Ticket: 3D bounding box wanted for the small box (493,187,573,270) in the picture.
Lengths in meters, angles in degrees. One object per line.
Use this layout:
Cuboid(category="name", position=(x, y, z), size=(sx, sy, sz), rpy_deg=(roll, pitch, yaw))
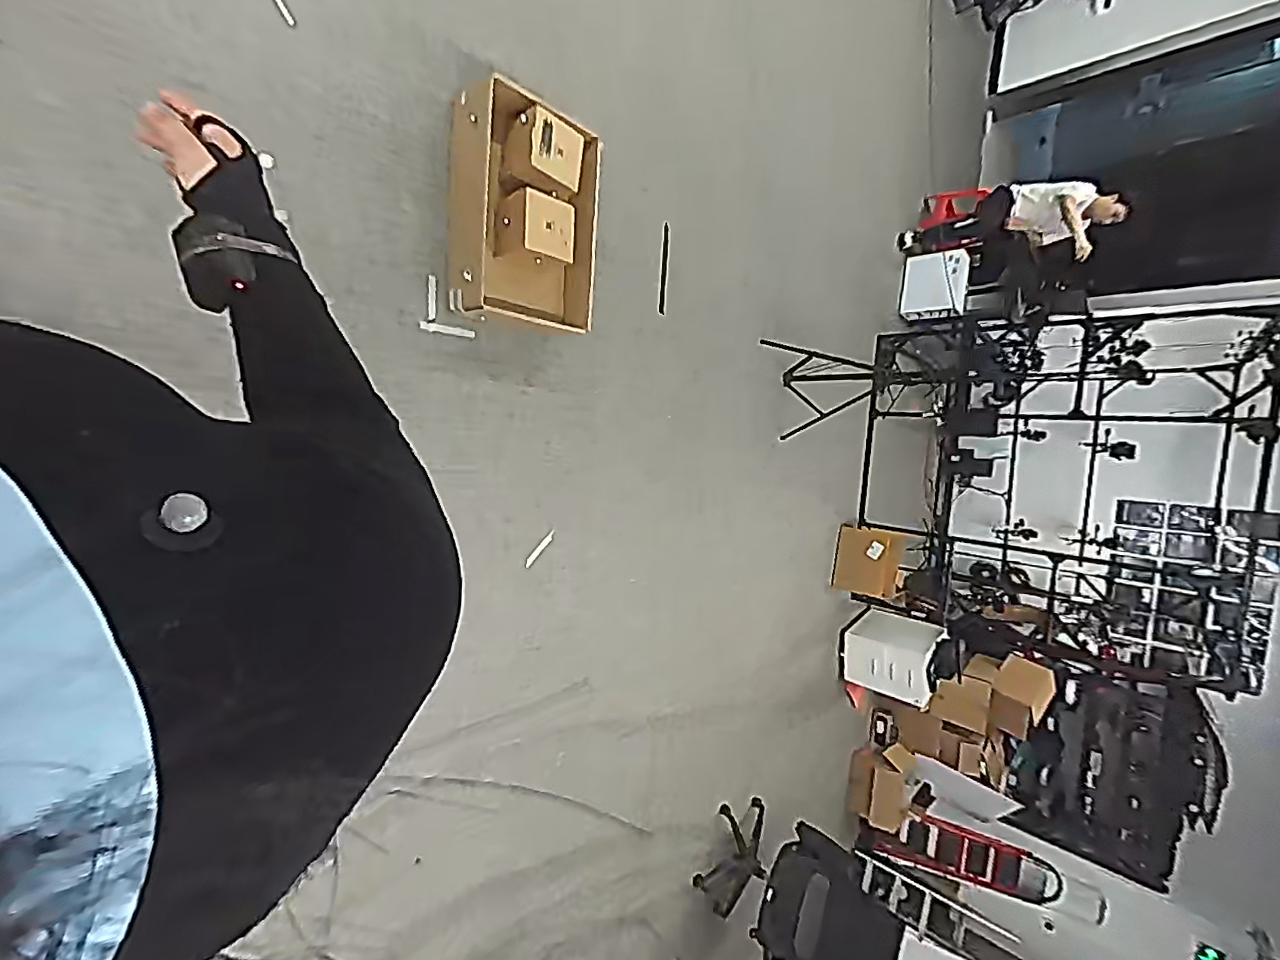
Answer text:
Cuboid(category="small box", position=(-0.323, -0.742, 1.617), size=(0.179, 0.176, 0.168), rpy_deg=(-2, 97, -47))
